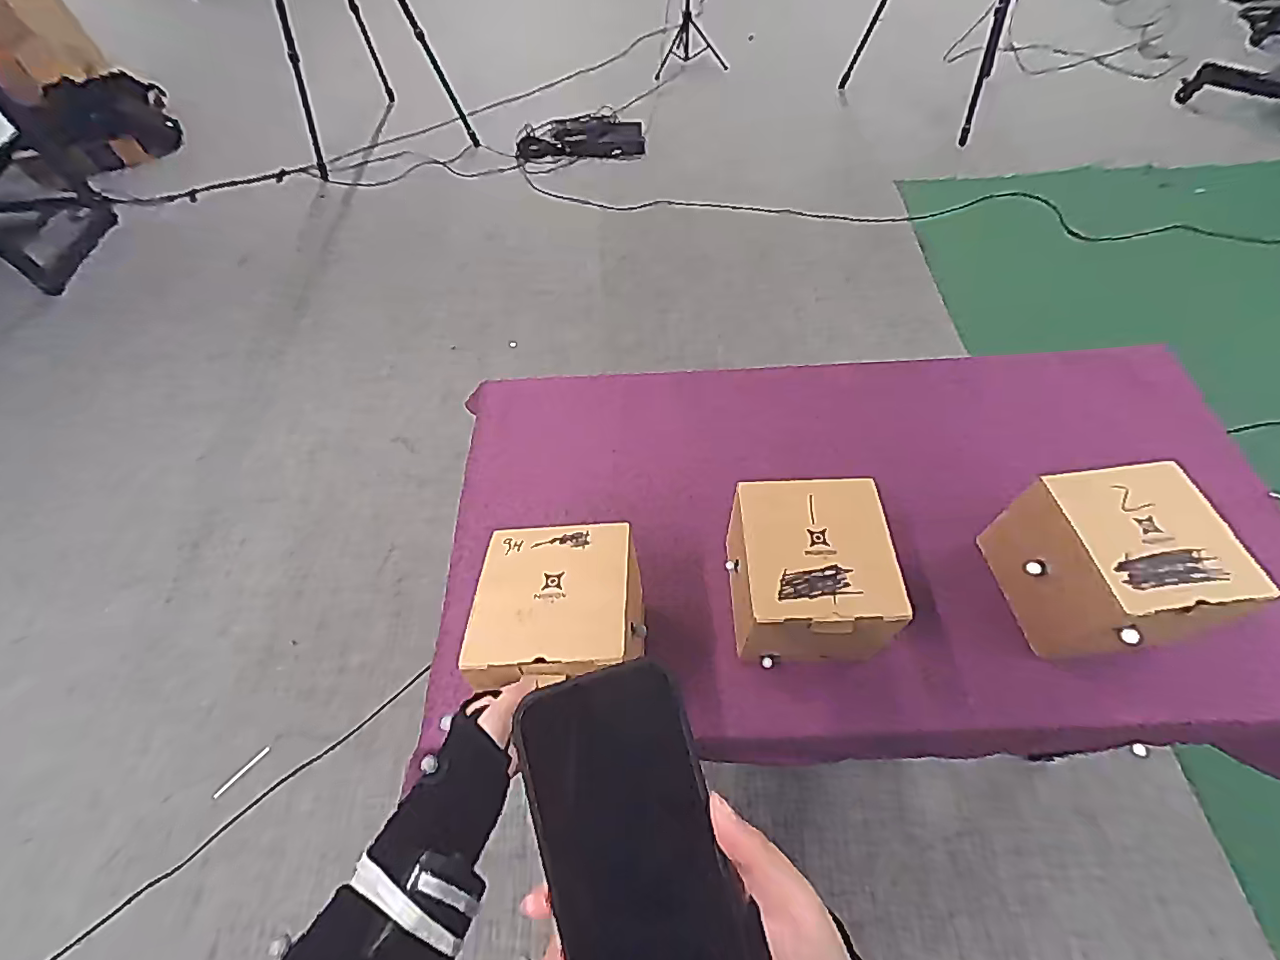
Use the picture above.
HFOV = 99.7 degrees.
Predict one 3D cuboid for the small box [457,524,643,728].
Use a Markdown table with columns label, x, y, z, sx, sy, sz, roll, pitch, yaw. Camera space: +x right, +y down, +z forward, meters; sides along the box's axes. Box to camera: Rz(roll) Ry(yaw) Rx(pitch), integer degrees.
| label | x | y | z | sx | sy | sz | roll | pitch | yaw |
| --- | --- | --- | --- | --- | --- | --- | --- | --- | --- |
| small box | -0.087 | 0.175 | 0.630 | 0.168 | 0.176 | 0.179 | -4 | 43 | 5 |

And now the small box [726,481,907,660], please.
| label | x | y | z | sx | sy | sz | roll | pitch | yaw |
| --- | --- | --- | --- | --- | --- | --- | --- | --- | --- |
| small box | 0.202 | 0.120 | 0.675 | 0.168 | 0.176 | 0.179 | -2 | 56 | 2 |
